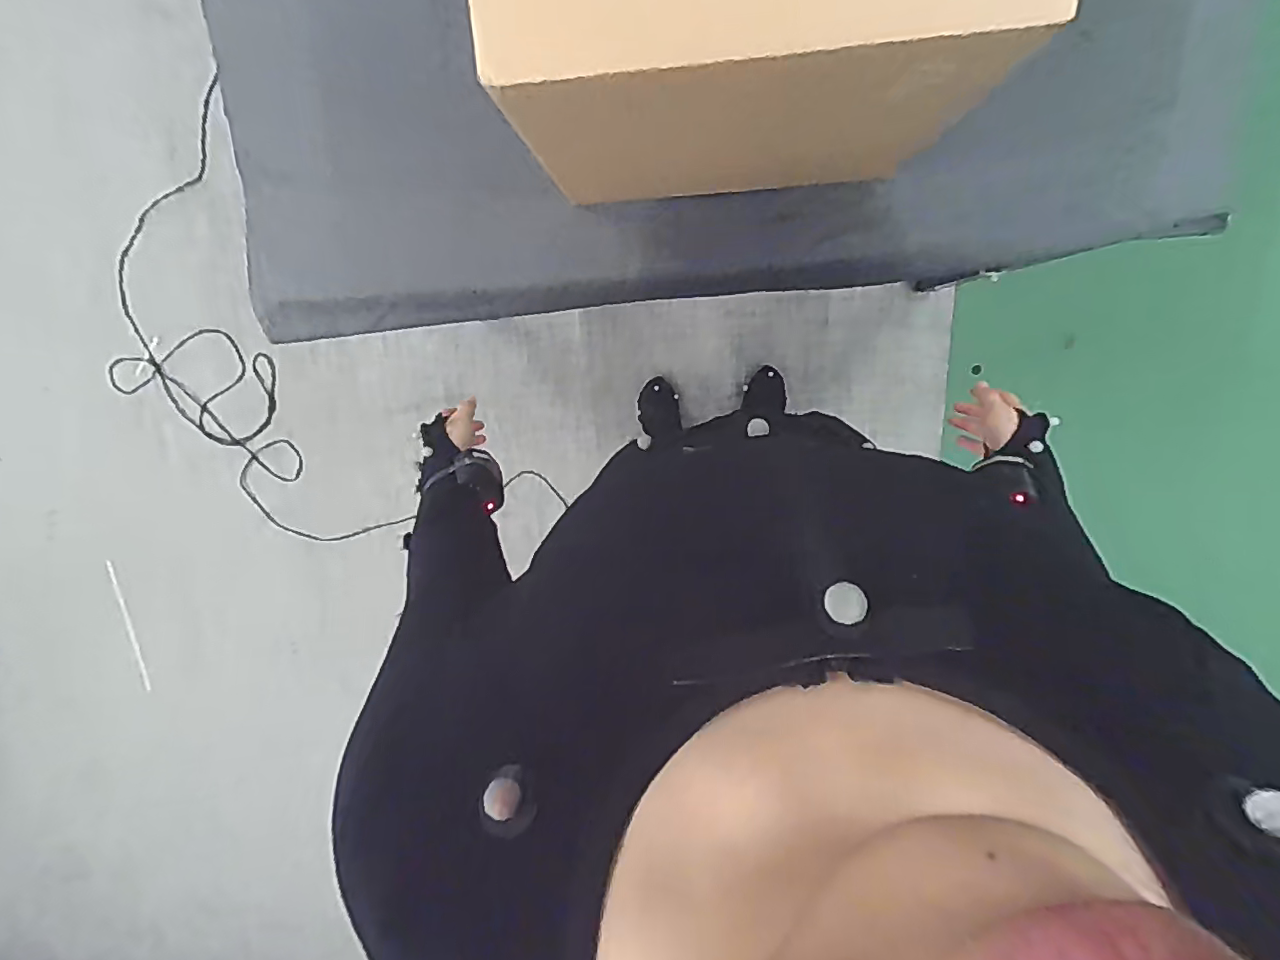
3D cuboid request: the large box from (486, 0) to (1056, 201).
[{"bbox_3d":[0.087,-0.484,0.501,0.408,0.320,0.320,-2,103,5],"label":"large box"}]
